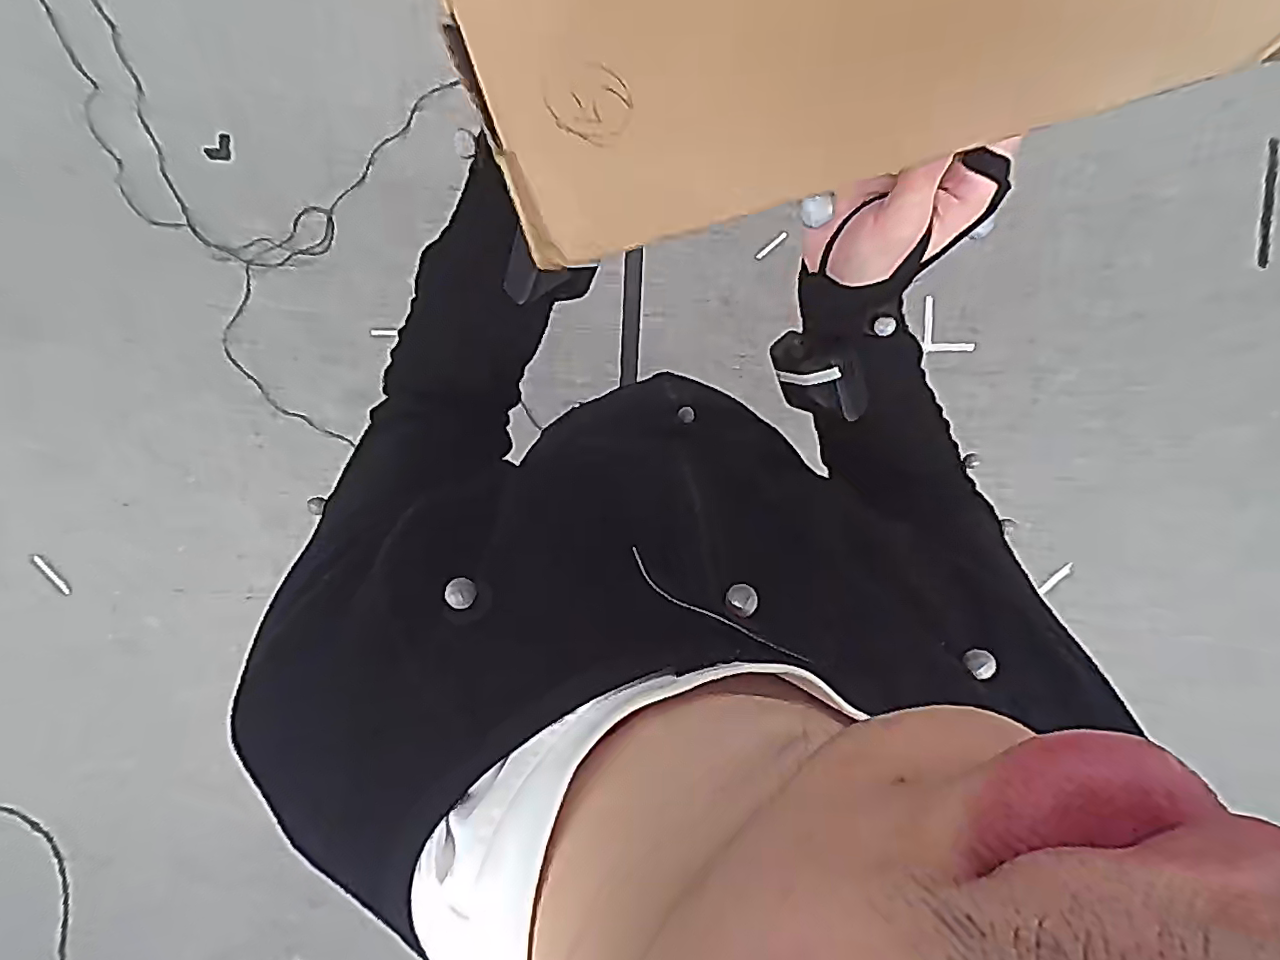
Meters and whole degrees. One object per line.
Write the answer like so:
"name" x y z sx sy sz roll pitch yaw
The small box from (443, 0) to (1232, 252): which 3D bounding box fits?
"small box" 0.037 -0.193 0.172 0.179 0.176 0.168 -12 121 14
